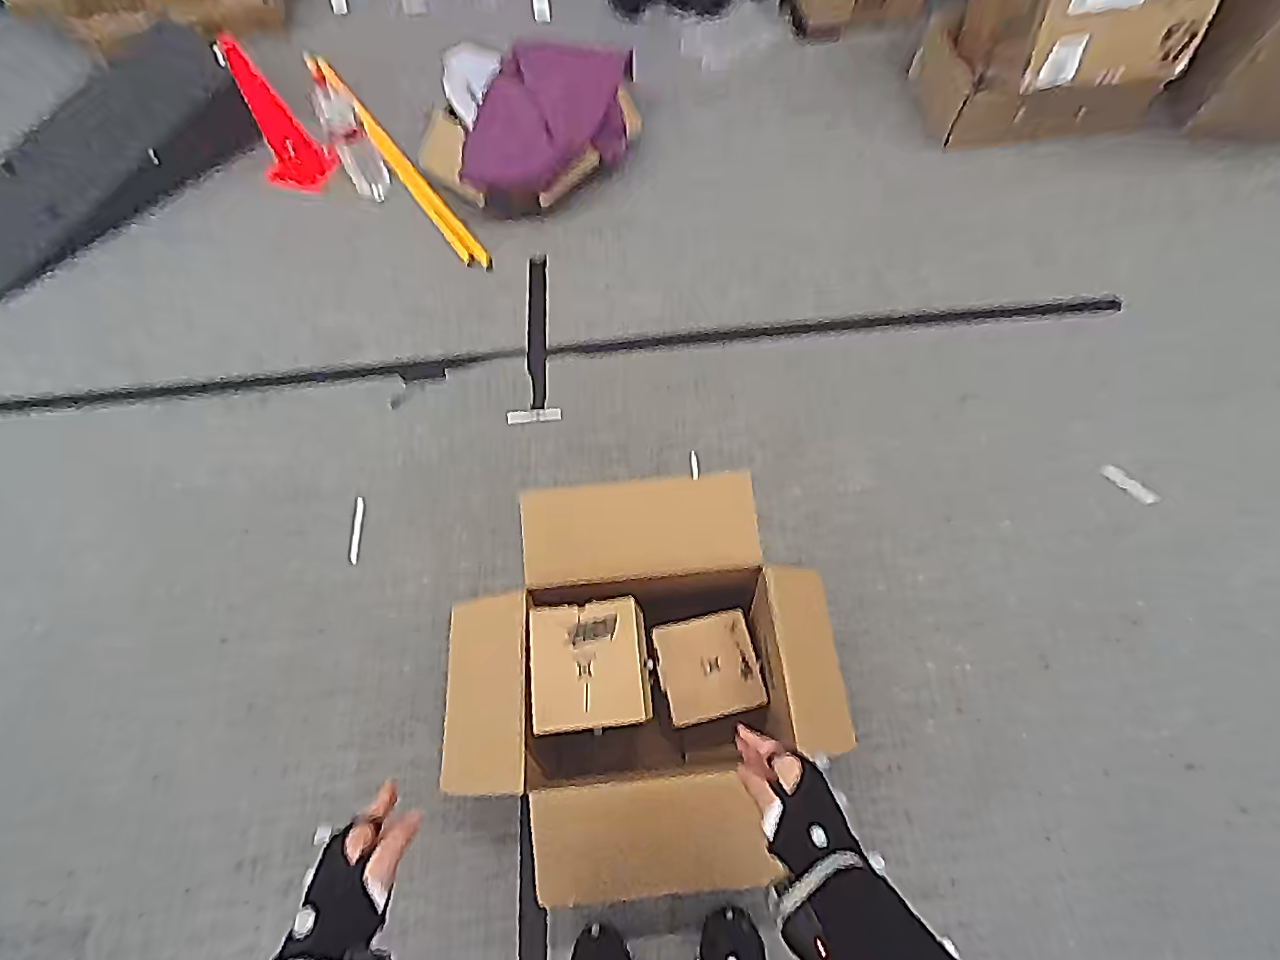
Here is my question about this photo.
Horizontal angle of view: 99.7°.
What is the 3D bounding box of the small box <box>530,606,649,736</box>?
[{"bbox_3d":[-0.079,0.314,0.885,0.168,0.176,0.179,-7,68,3],"label":"small box"}]
